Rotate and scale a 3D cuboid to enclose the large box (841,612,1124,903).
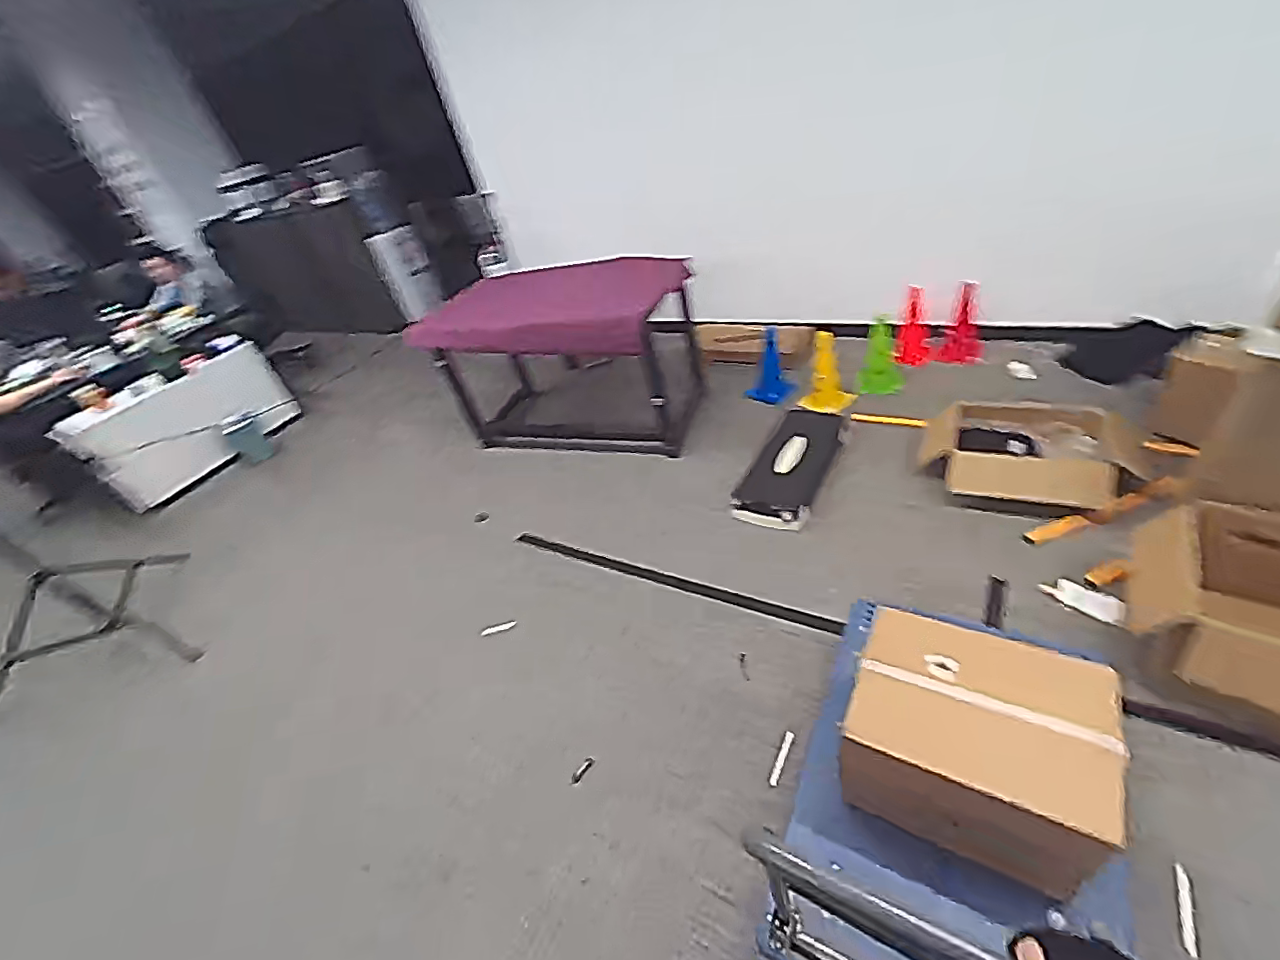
[{"bbox_3d":[0.642,0.521,1.060,0.408,0.320,0.320,11,44,32],"label":"large box"}]
